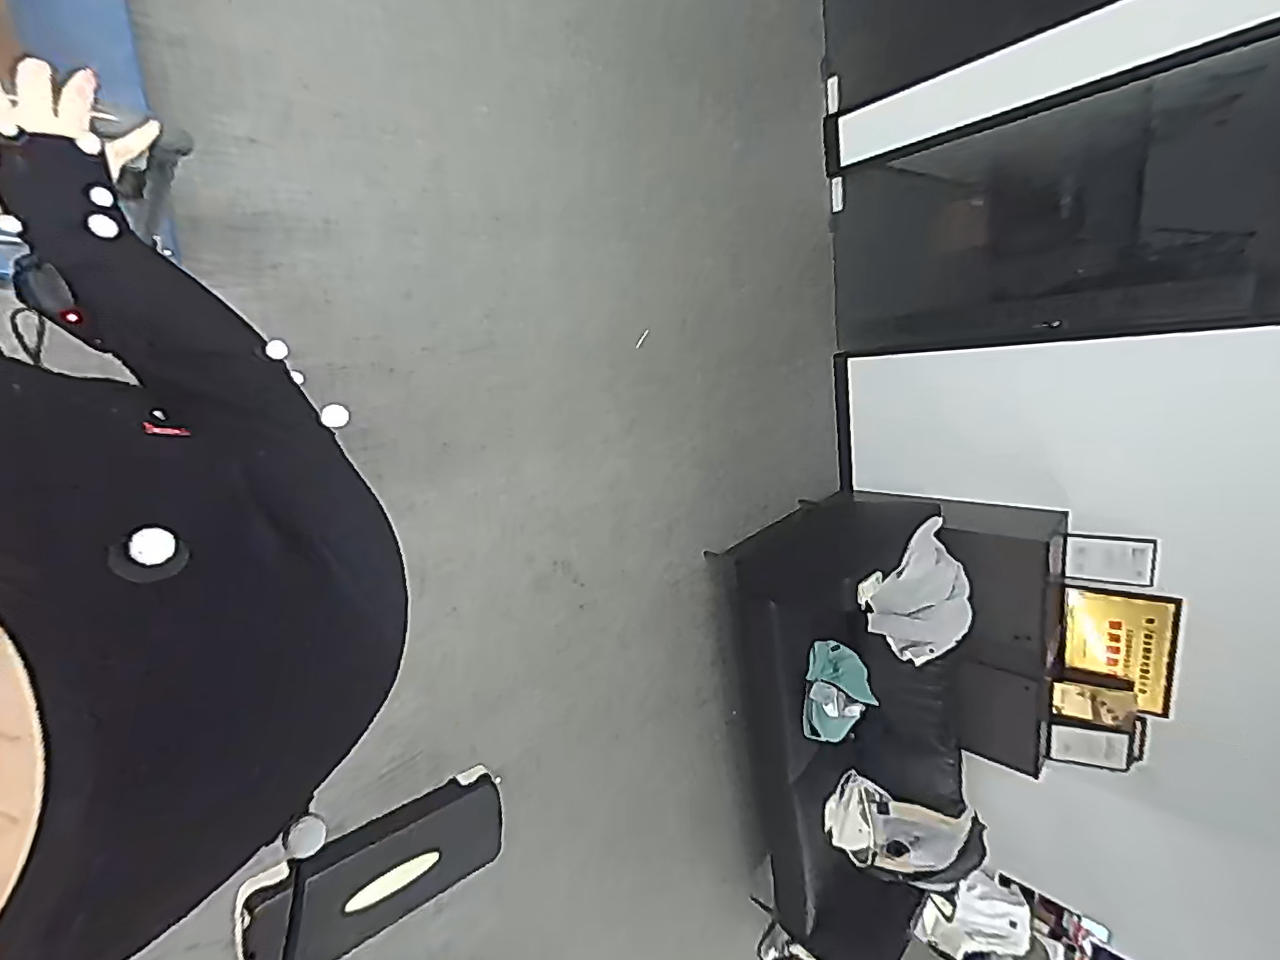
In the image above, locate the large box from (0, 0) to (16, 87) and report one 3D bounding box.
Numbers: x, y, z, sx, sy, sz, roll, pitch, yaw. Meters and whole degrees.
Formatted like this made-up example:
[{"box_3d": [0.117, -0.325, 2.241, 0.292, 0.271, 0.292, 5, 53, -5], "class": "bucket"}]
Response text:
[{"box_3d": [-1.049, -0.740, 0.611, 0.408, 0.320, 0.320, -10, 103, -44], "class": "large box"}]
